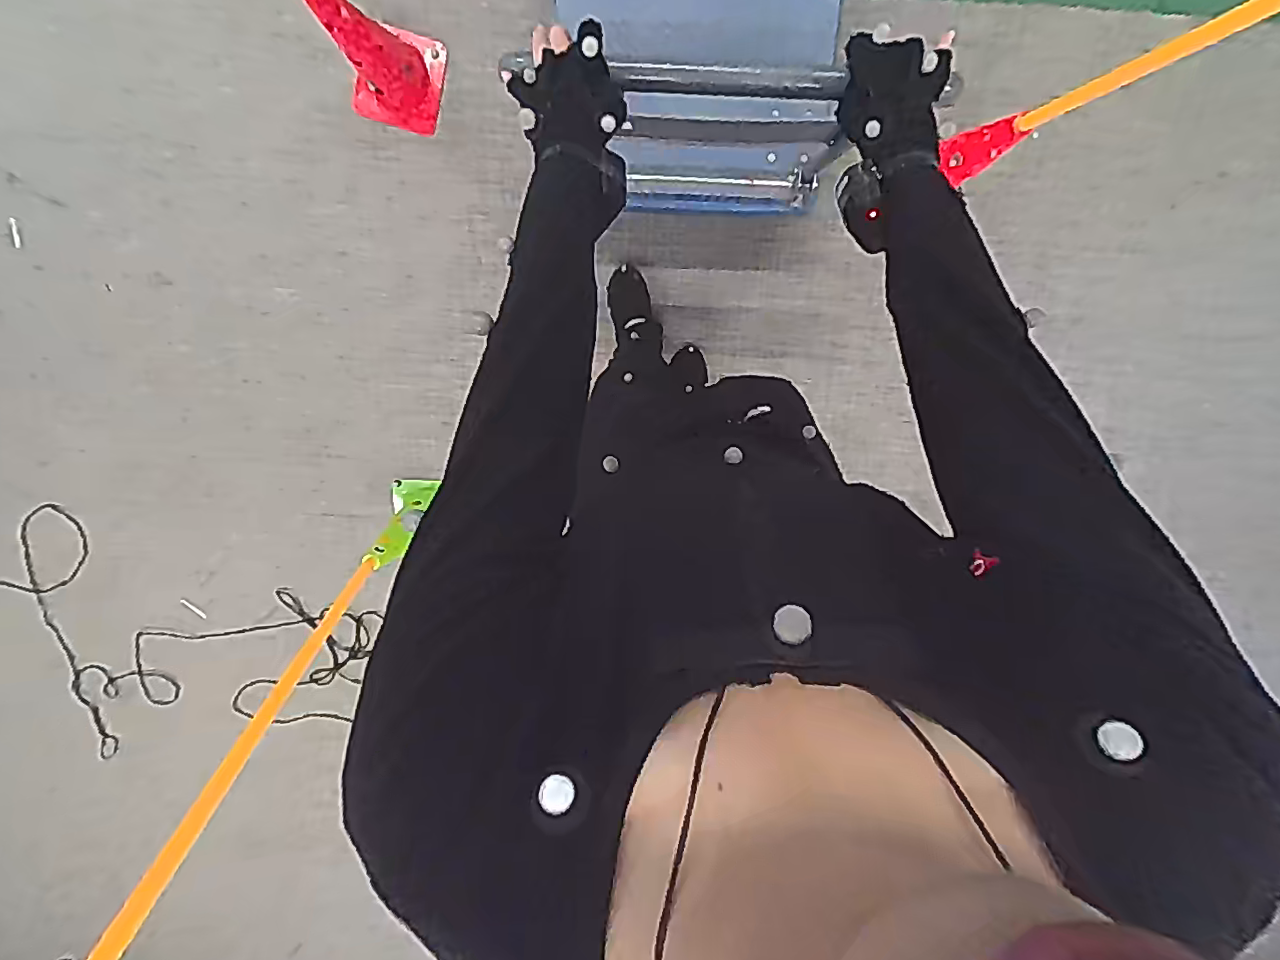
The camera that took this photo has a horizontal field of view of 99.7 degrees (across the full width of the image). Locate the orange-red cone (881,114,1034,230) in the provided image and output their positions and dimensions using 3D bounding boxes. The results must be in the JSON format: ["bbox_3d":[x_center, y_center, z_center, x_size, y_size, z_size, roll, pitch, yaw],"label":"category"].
[{"bbox_3d":[0.701,-0.685,1.148,0.198,0.360,0.199,14,105,-2],"label":"orange-red cone"}]
